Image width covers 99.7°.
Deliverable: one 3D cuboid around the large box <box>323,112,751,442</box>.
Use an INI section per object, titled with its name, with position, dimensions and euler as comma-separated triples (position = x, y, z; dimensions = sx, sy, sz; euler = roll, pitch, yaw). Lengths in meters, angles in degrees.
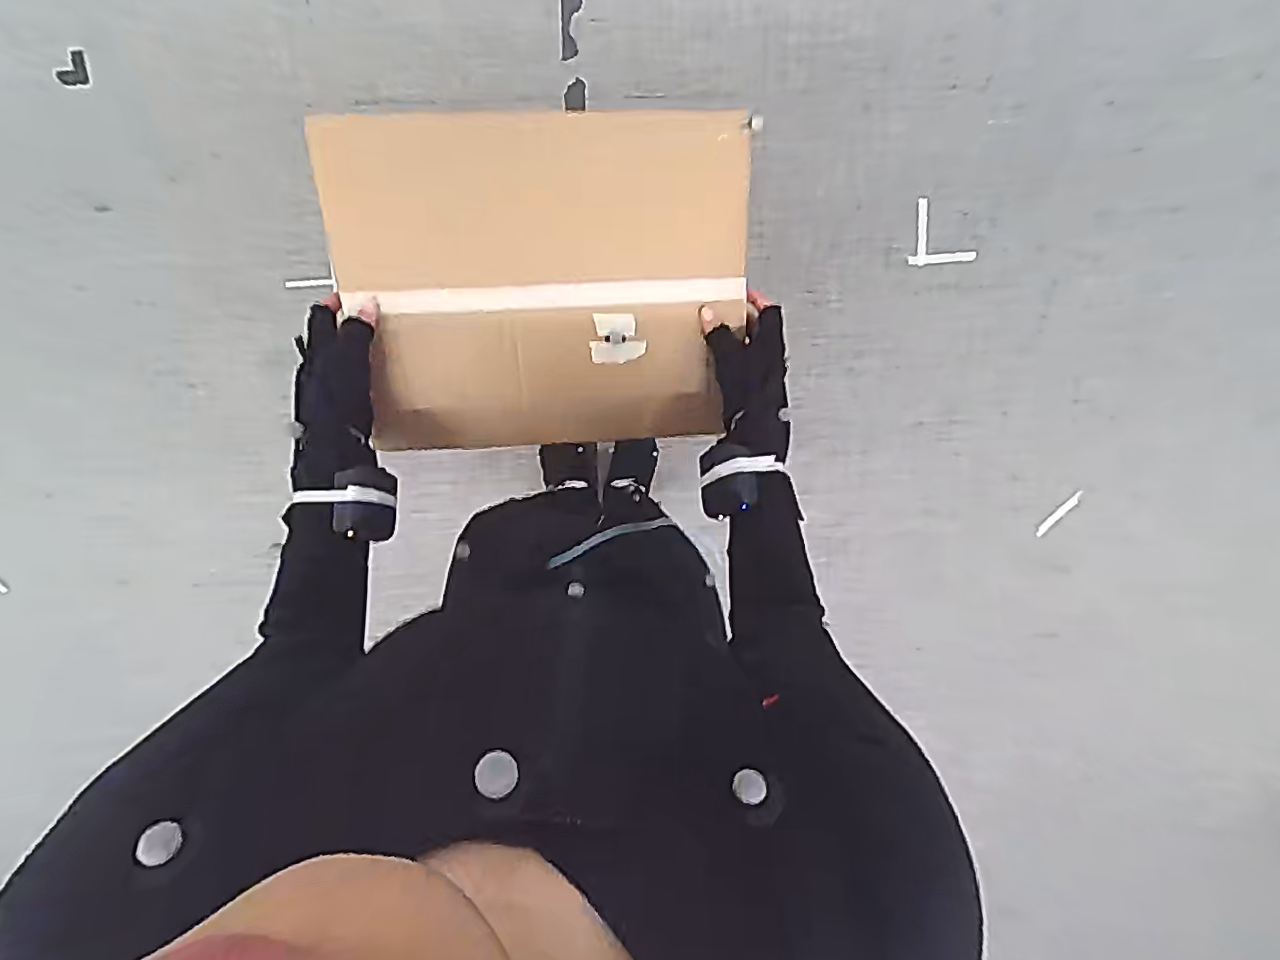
[large box]
position = -0.102, -0.250, 0.694
dimensions = 0.408, 0.320, 0.320
euler = -3, 113, -5
